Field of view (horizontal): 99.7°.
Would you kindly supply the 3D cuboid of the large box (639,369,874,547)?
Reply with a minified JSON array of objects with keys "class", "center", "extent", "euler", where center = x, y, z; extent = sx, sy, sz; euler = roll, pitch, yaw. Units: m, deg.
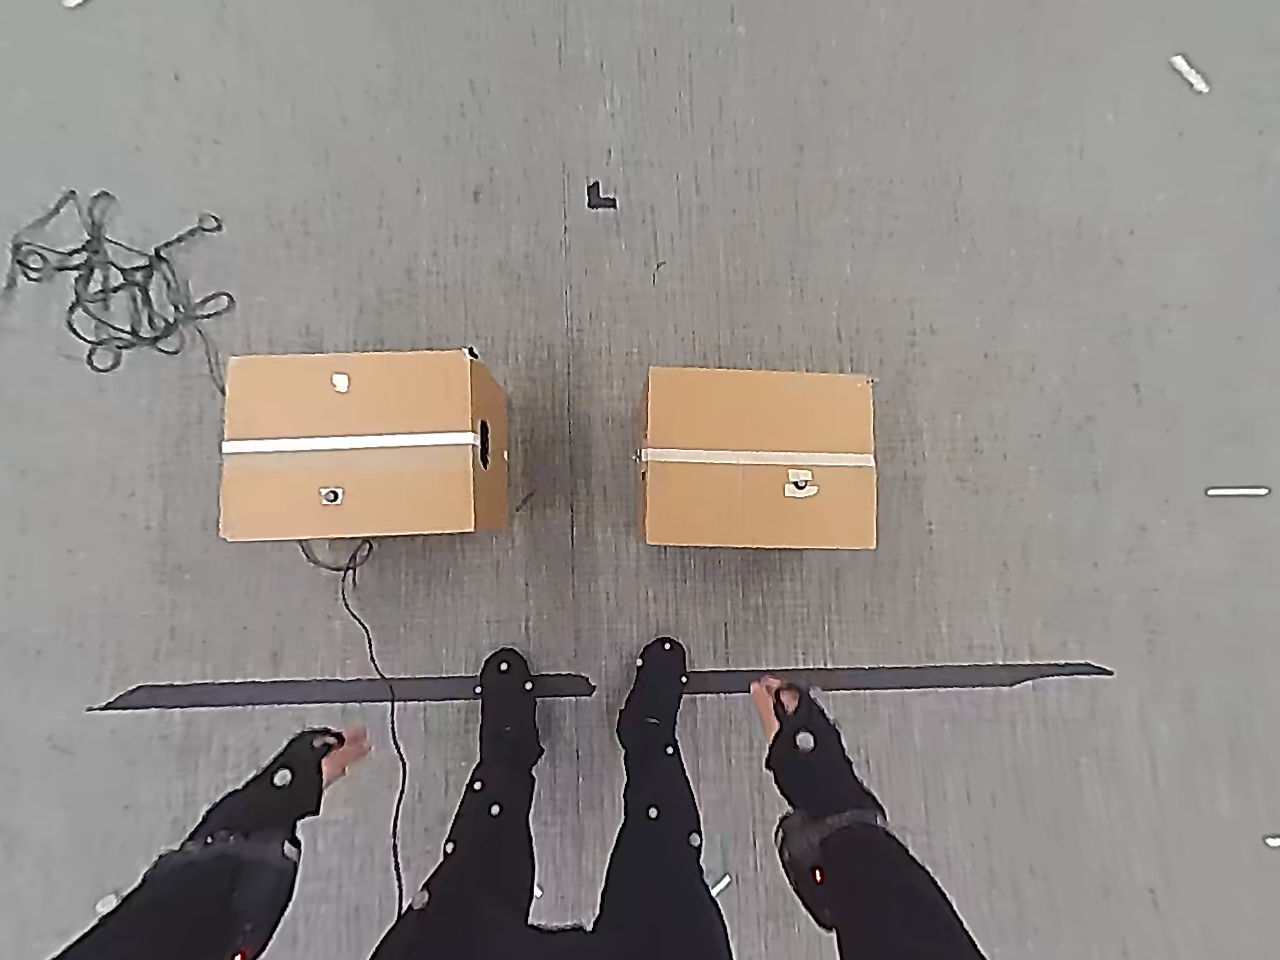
[{"class":"large box","center":[0.206,-0.025,1.101],"extent":[0.408,0.320,0.320],"euler":[2,85,-4]}]
